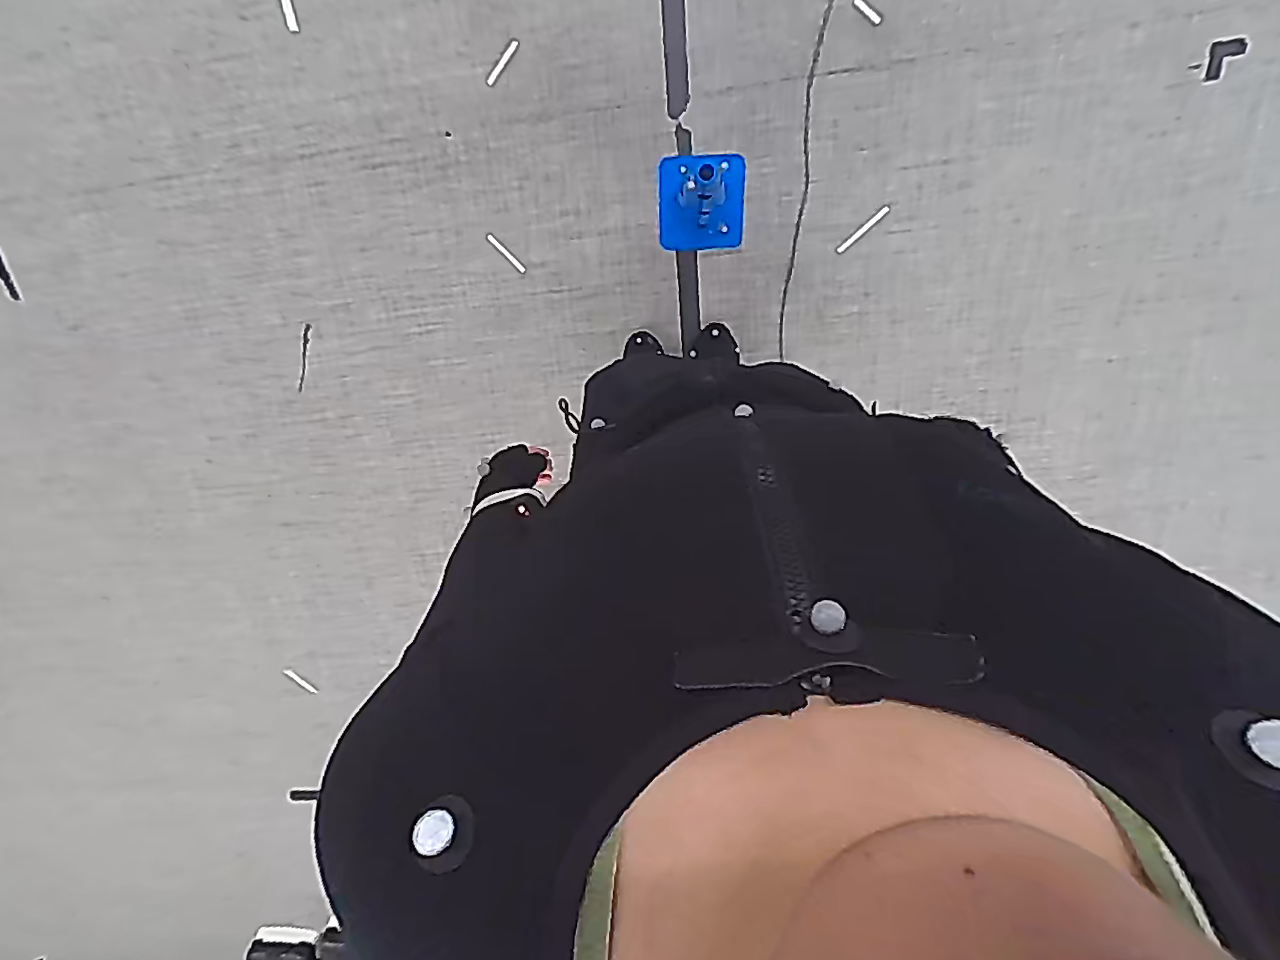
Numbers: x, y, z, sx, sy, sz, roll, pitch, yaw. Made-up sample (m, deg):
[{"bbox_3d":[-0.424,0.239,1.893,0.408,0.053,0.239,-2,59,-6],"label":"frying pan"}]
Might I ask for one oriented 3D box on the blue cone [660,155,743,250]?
[{"bbox_3d":[0.133,-0.588,1.098,0.193,0.380,0.192,-1,109,4],"label":"blue cone"}]
